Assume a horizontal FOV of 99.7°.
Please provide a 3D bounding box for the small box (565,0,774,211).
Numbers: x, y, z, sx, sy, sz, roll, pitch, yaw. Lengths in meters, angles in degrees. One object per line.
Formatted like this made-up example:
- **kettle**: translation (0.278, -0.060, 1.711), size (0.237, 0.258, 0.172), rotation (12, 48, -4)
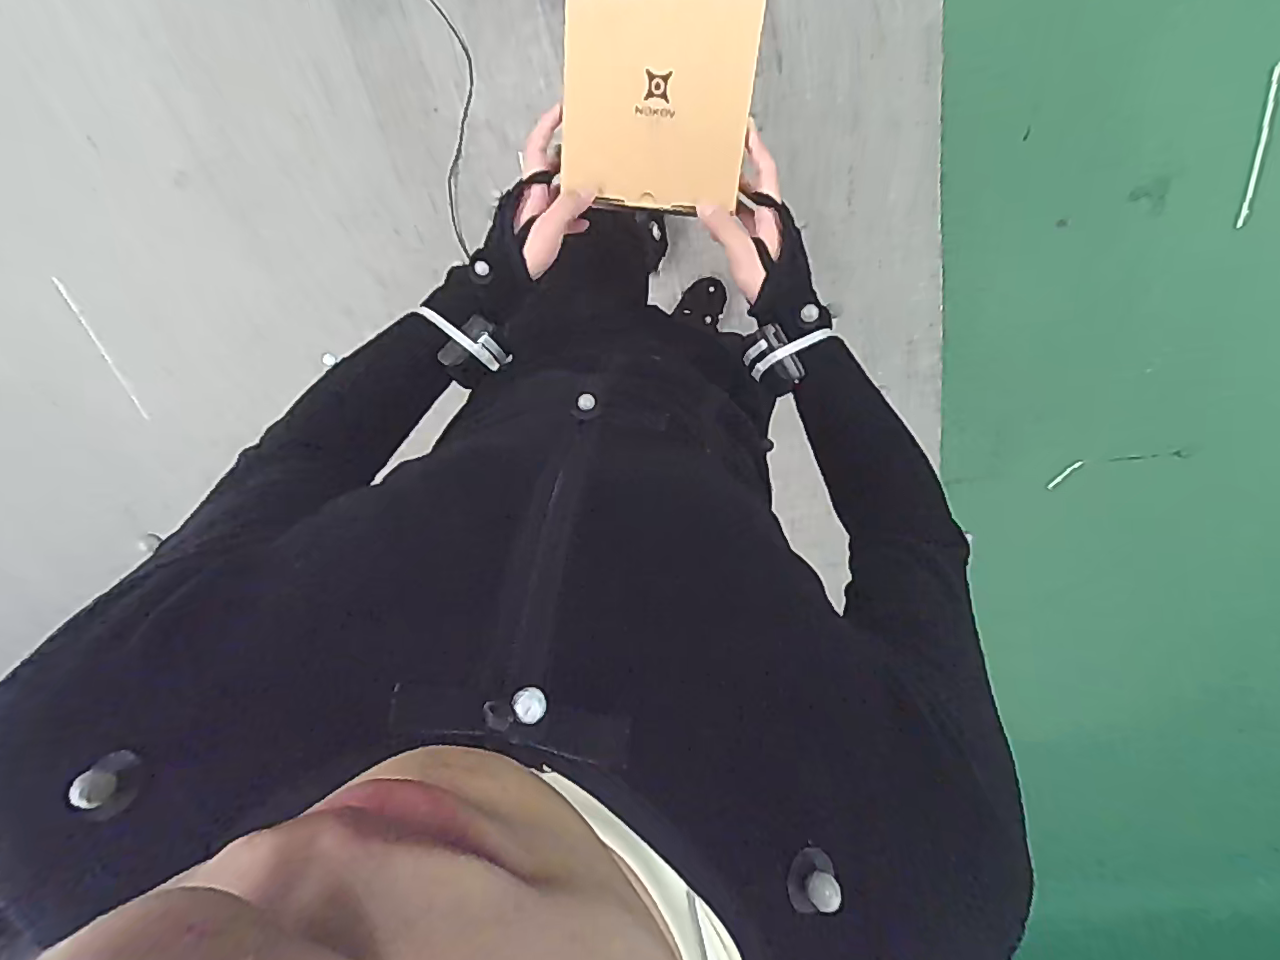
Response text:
- **small box**: translation (0.024, -0.373, 0.535), size (0.168, 0.176, 0.179), rotation (7, 117, 1)
